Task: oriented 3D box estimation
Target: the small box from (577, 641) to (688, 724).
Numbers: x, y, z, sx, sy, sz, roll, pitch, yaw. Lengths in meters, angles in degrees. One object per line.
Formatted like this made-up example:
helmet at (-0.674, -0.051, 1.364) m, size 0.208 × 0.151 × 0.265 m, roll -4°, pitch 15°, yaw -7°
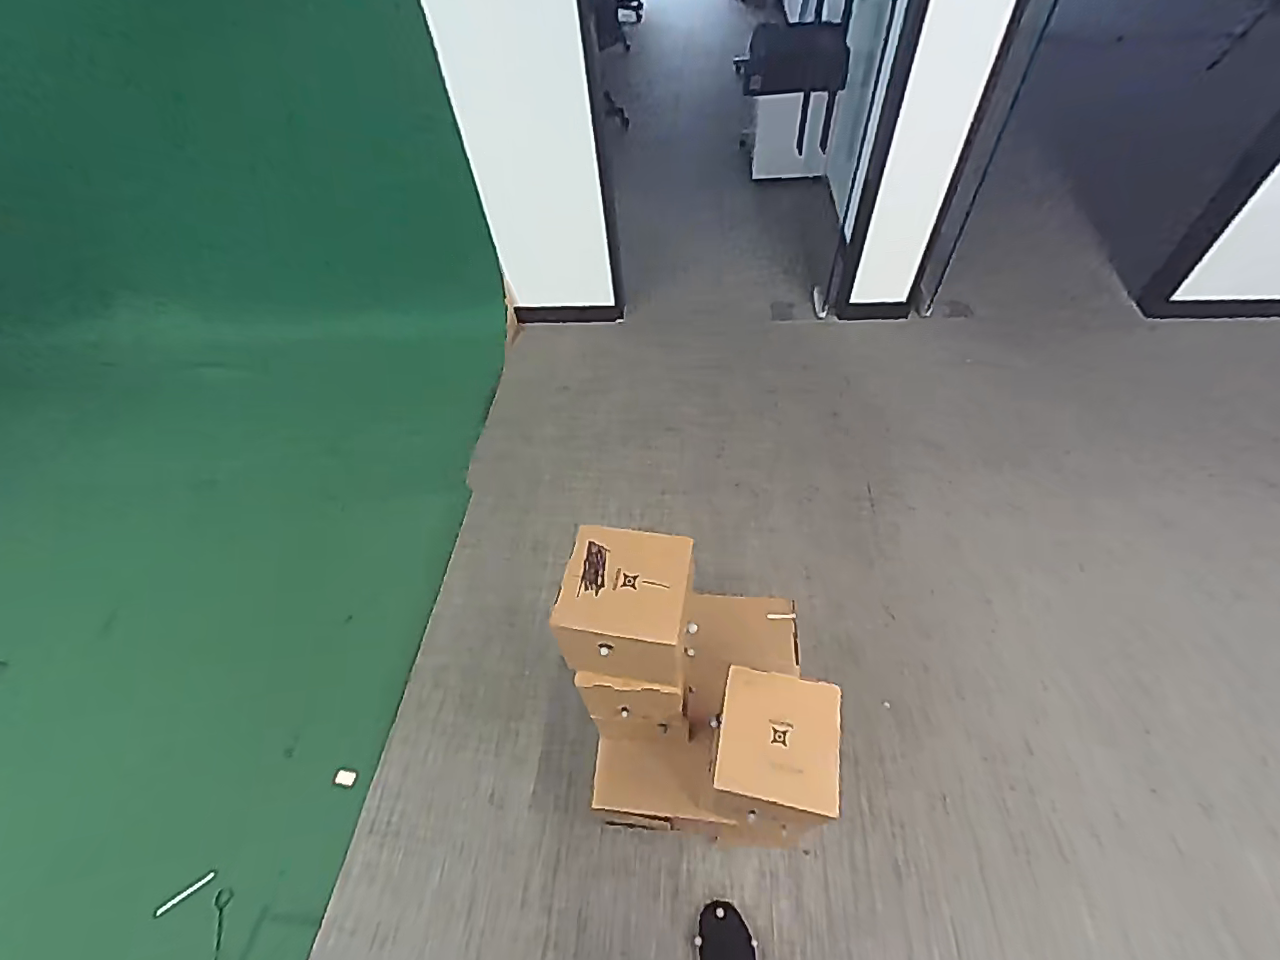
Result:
small box at (-0.002, 0.302, 0.937) m, size 0.168 × 0.176 × 0.179 m, roll 2°, pitch 52°, yaw 7°

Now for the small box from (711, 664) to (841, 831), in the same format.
small box at (0.203, 0.410, 0.828) m, size 0.168 × 0.176 × 0.179 m, roll 8°, pitch 53°, yaw 12°

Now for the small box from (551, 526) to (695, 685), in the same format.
small box at (-0.014, 0.192, 0.815) m, size 0.179 × 0.176 × 0.168 m, roll 7°, pitch 53°, yaw 10°

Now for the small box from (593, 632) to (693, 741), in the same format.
small box at (0.014, 0.403, 1.063) m, size 0.179 × 0.176 × 0.168 m, roll 1°, pitch 50°, yaw 6°
